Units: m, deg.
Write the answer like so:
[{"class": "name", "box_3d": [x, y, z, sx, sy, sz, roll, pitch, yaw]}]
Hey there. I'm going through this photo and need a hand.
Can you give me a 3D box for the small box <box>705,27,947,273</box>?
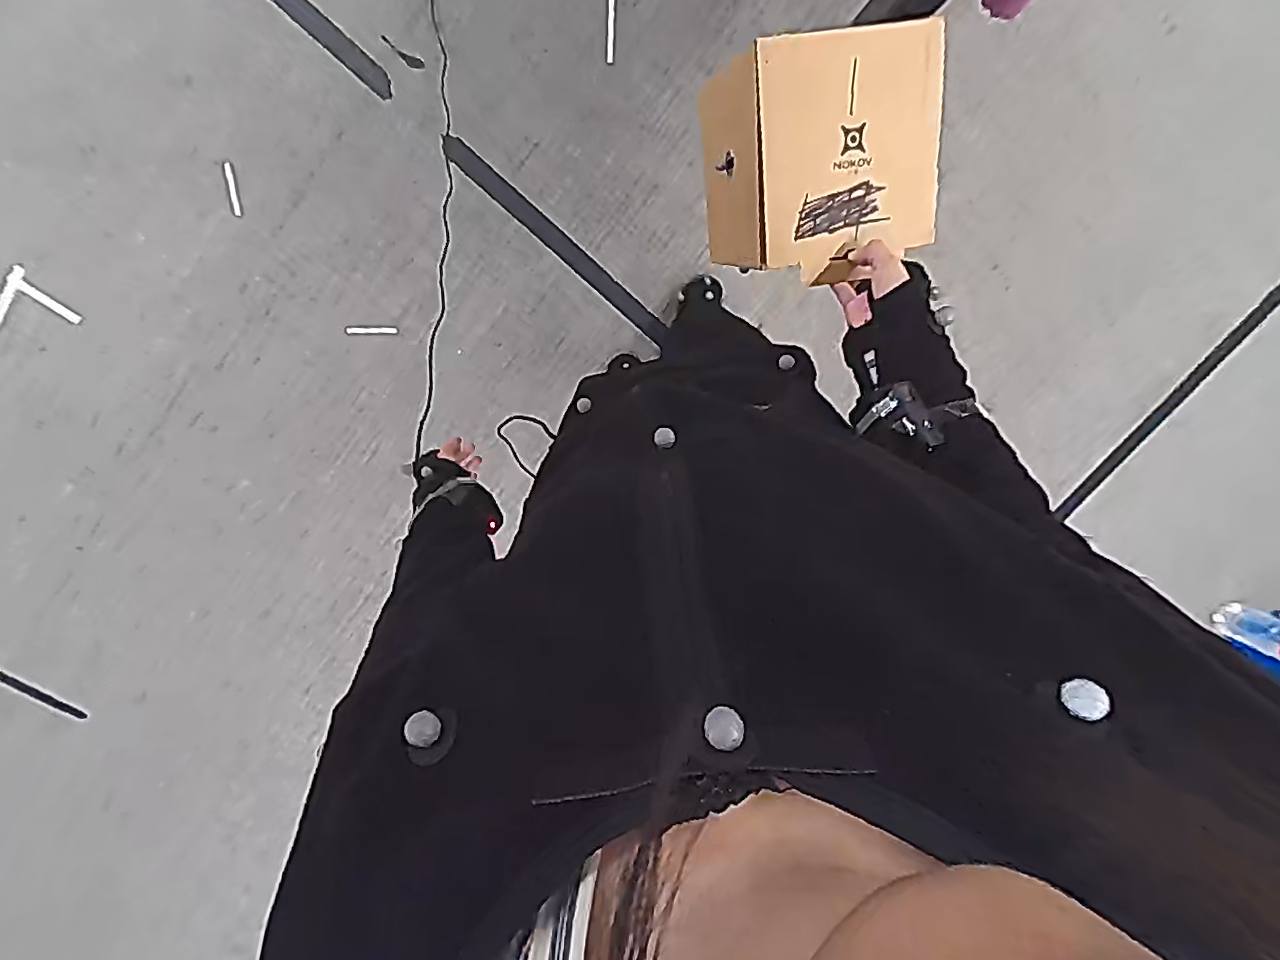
[{"class": "small box", "box_3d": [0.169, -0.314, 0.544, 0.168, 0.176, 0.179, -10, 114, -7]}]
